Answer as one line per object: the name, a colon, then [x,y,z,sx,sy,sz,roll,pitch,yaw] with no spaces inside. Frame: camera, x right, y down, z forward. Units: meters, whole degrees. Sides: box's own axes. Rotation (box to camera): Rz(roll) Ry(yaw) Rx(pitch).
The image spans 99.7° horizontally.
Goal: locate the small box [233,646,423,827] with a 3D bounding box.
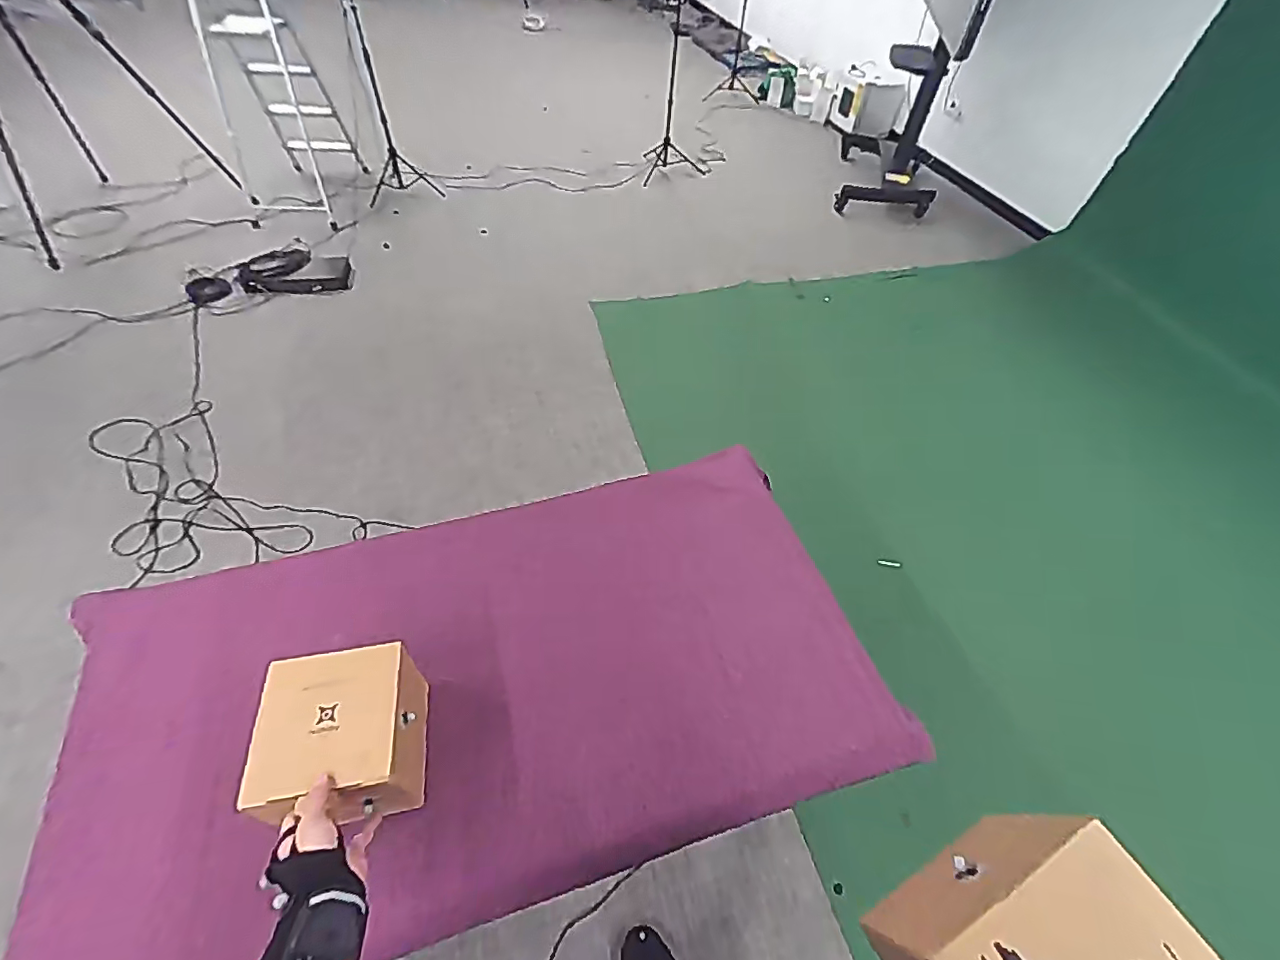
small box: [-0.401,0.352,0.734,0.168,0.176,0.179,-5,49,-11]
